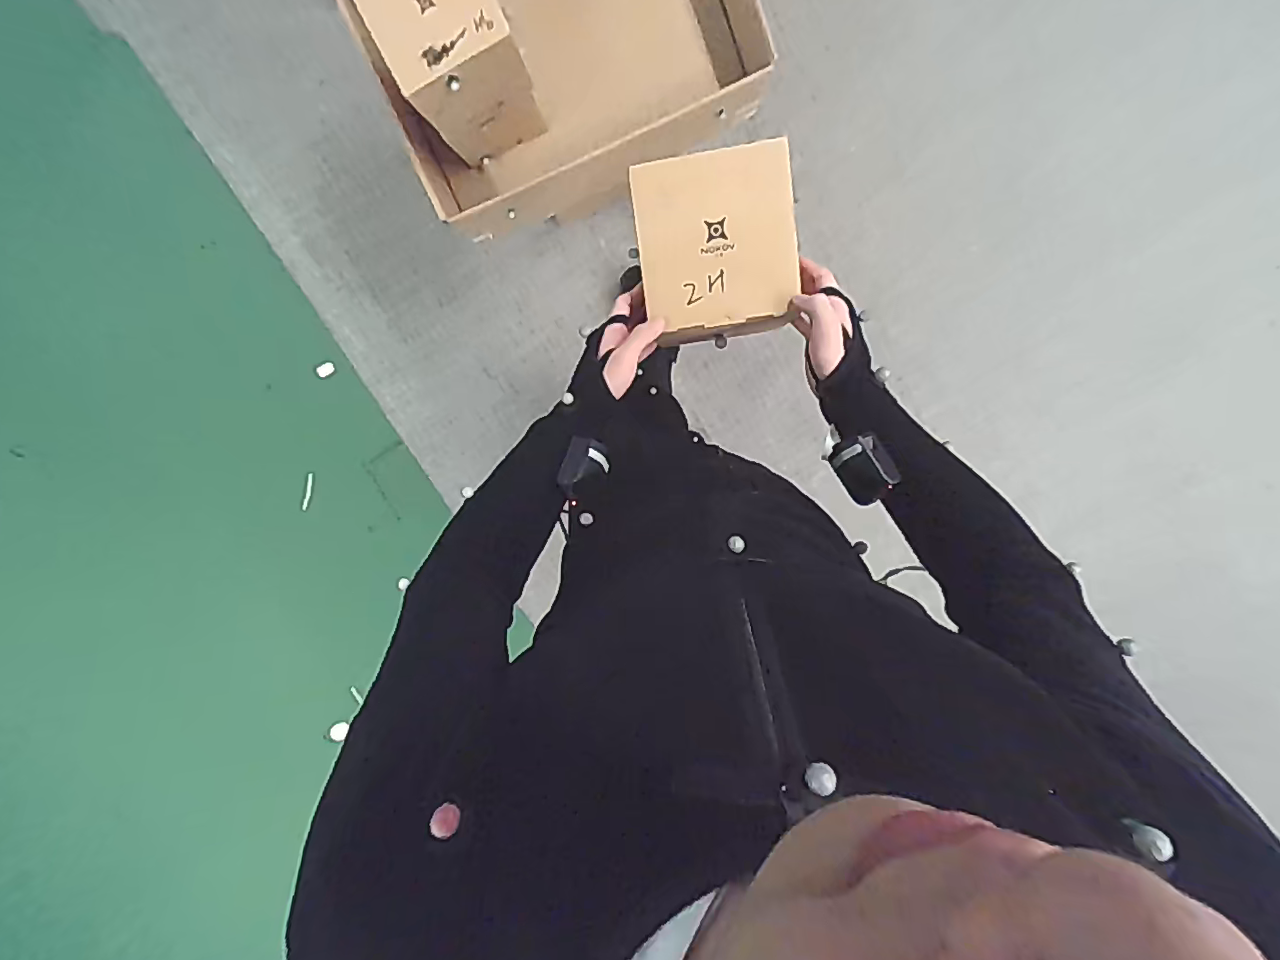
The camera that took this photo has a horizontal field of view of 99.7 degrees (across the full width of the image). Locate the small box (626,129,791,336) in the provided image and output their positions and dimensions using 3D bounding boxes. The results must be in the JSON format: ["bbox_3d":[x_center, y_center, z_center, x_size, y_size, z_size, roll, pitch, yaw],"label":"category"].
[{"bbox_3d":[0.082,-0.279,0.651,0.168,0.176,0.179,-5,99,9],"label":"small box"}]

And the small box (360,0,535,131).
[{"bbox_3d":[-0.273,-0.646,0.769,0.168,0.176,0.179,-24,103,9],"label":"small box"}]

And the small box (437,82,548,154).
[{"bbox_3d":[-0.275,-0.691,0.926,0.168,0.176,0.179,-23,103,7],"label":"small box"}]
